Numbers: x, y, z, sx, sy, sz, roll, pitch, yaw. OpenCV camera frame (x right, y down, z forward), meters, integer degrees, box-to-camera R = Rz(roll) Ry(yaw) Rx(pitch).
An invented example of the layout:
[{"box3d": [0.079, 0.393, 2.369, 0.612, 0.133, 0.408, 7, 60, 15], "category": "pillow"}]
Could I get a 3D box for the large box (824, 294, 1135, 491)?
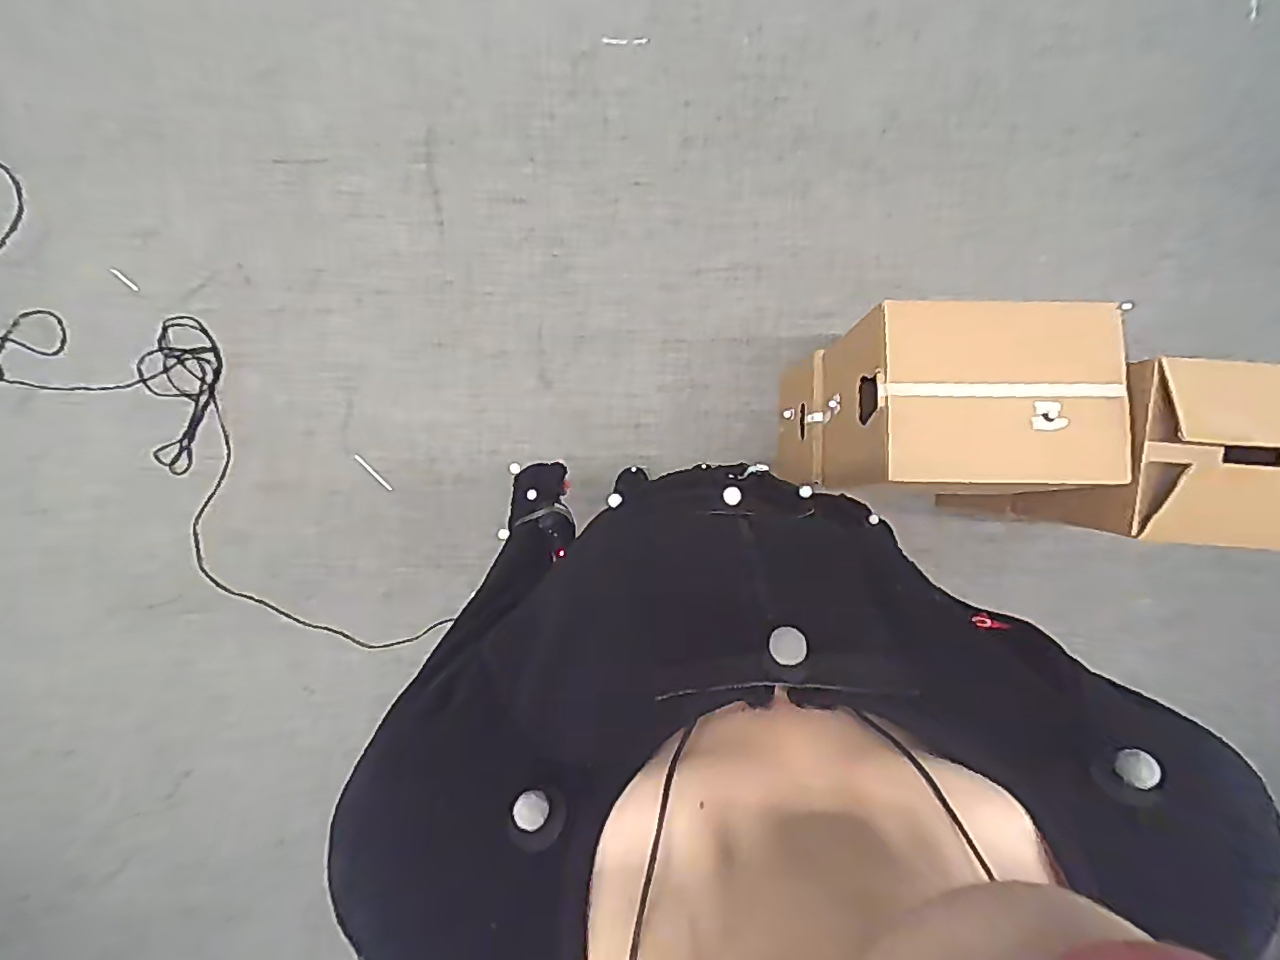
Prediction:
[{"box3d": [0.606, -0.144, 1.038, 0.408, 0.320, 0.320, 1, 86, 0], "category": "large box"}]
